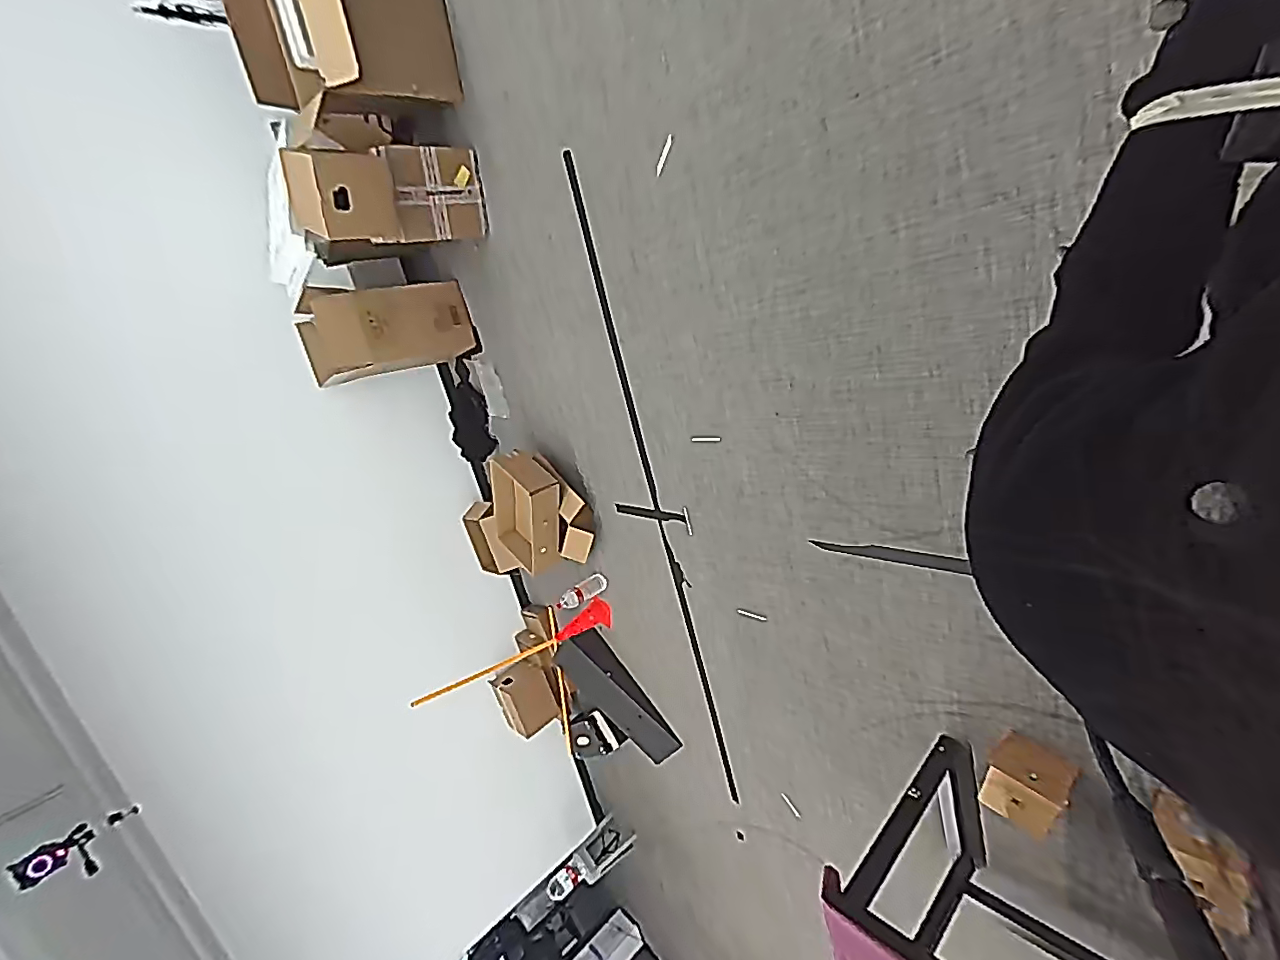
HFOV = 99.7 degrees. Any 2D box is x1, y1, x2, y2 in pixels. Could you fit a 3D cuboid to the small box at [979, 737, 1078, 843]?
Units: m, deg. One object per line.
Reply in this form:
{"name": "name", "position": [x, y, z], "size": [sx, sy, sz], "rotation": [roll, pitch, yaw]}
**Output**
{"name": "small box", "position": [1.126, 0.885, 1.568], "size": [0.179, 0.176, 0.168], "rotation": [24, 128, 40]}

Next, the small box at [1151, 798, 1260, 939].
{"name": "small box", "position": [1.355, 0.919, 1.296], "size": [0.168, 0.176, 0.179], "rotation": [3, 113, 51]}
